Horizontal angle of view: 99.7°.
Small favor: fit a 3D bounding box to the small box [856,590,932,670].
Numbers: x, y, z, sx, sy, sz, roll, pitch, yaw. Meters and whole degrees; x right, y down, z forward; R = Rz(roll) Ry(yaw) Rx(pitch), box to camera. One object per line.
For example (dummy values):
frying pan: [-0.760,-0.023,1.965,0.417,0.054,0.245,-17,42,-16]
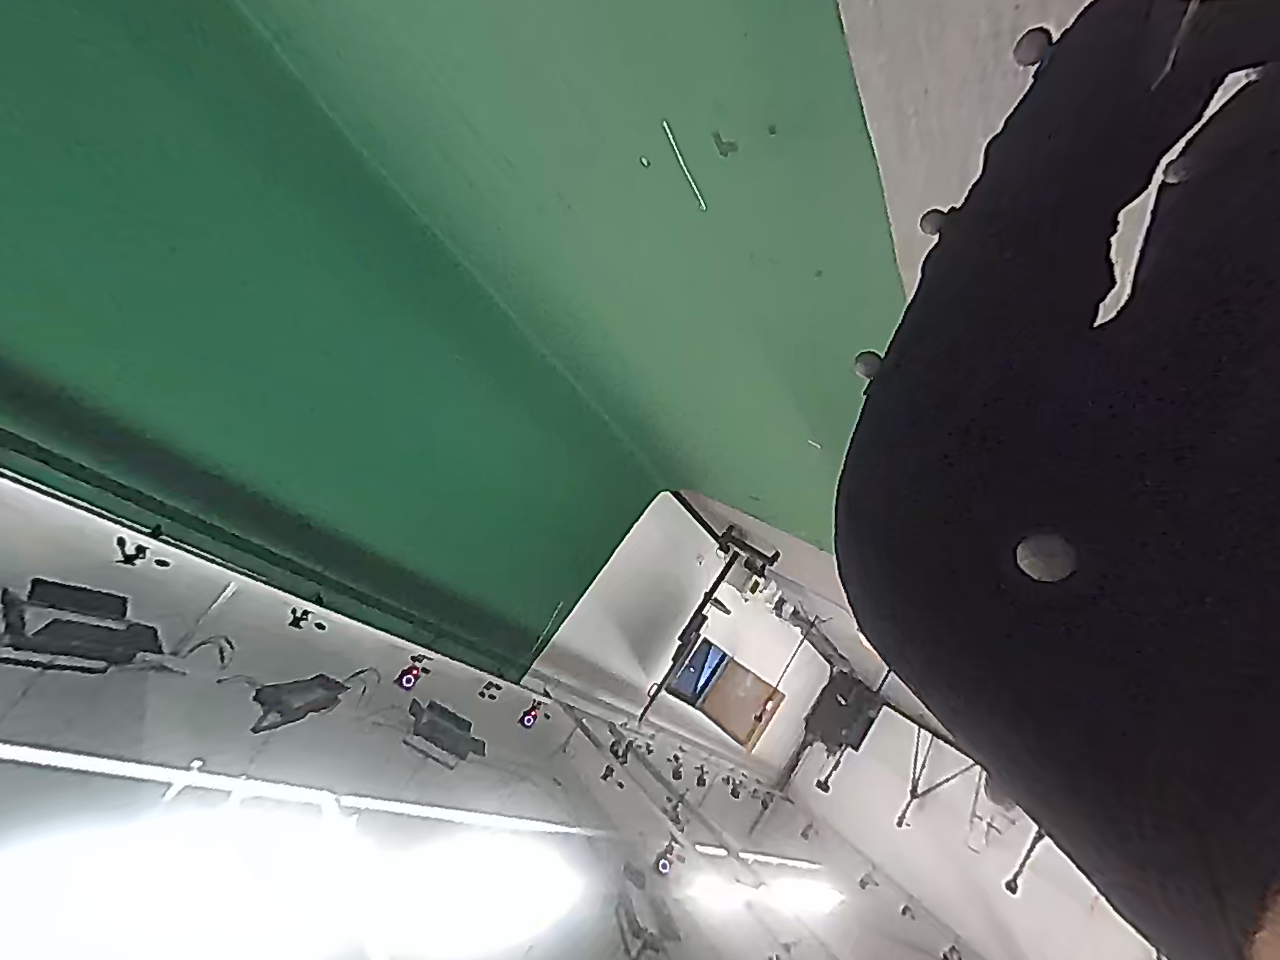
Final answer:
small box: [0.846,0.495,1.790,0.168,0.176,0.179,27,166,41]
